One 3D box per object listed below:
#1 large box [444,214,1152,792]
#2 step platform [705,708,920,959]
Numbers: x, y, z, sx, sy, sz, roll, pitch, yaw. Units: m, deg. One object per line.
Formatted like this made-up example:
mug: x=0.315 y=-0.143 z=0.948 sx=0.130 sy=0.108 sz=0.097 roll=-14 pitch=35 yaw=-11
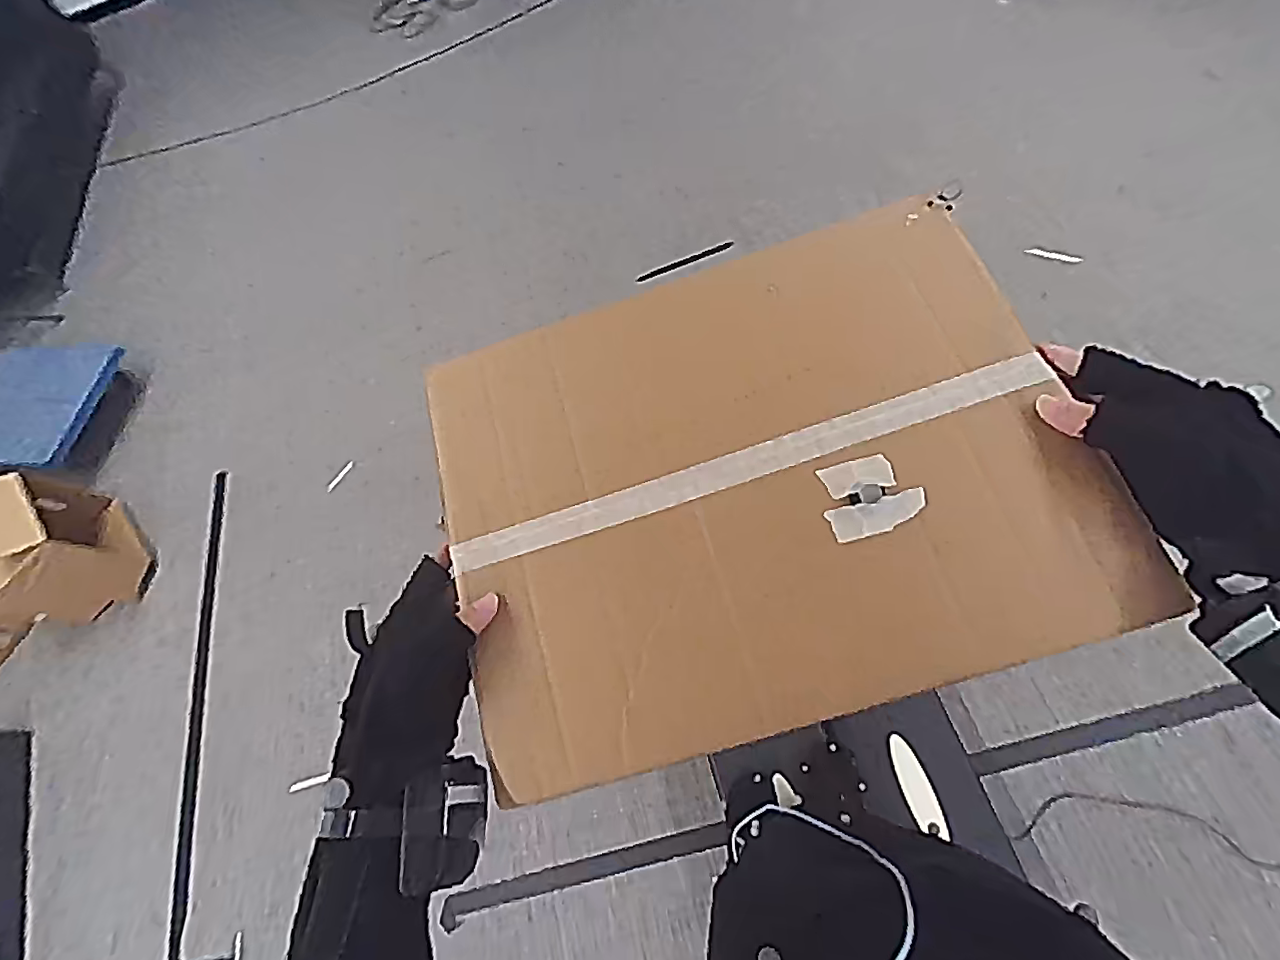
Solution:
large box: x=0.092 y=0.041 z=0.512 sx=0.408 sy=0.320 sz=0.320 roll=-18 pitch=71 yaw=4
step platform: x=0.350 y=0.769 z=1.241 sx=0.286 sy=0.204 sz=0.684 roll=-20 pitch=62 yaw=4
